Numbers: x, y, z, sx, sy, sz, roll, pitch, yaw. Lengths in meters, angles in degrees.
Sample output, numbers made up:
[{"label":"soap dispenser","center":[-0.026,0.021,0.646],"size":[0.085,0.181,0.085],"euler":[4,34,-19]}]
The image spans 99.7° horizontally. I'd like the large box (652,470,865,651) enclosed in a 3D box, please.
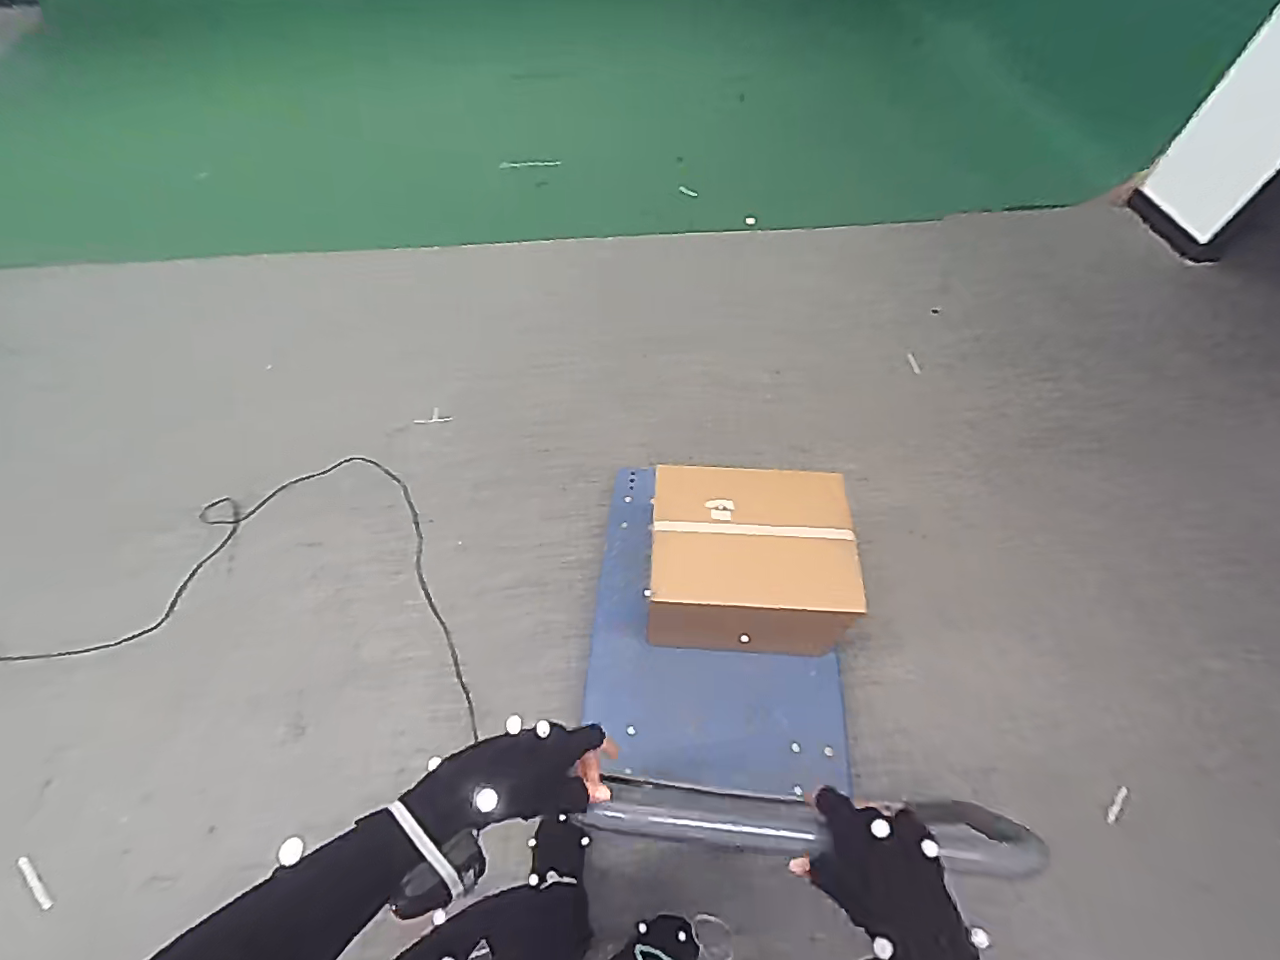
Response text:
[{"label":"large box","center":[0.235,0.191,1.224],"size":[0.408,0.320,0.320],"euler":[2,57,2]}]
